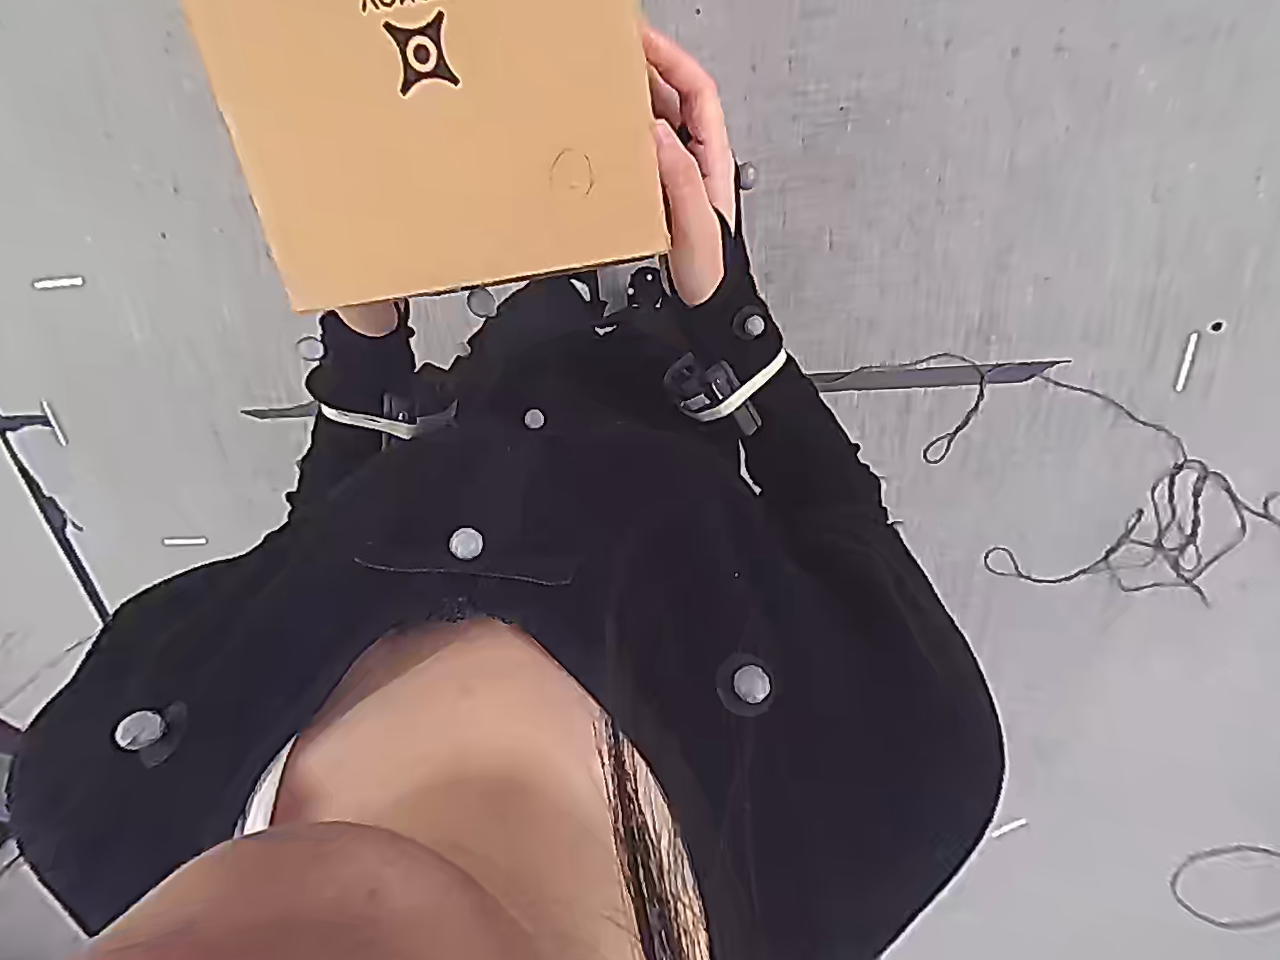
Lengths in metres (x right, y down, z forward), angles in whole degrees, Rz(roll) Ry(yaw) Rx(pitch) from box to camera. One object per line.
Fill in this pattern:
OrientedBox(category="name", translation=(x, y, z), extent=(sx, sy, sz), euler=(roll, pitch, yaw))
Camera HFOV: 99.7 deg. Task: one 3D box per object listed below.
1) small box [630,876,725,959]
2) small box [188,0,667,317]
OrientedBox(category="small box", translation=(0.074, 0.885, 1.007), extent=(0.168, 0.176, 0.179), euler=(-1, 111, 6))
OrientedBox(category="small box", translation=(-0.077, -0.190, 0.274), extent=(0.168, 0.176, 0.179), euler=(-8, 110, 3))
